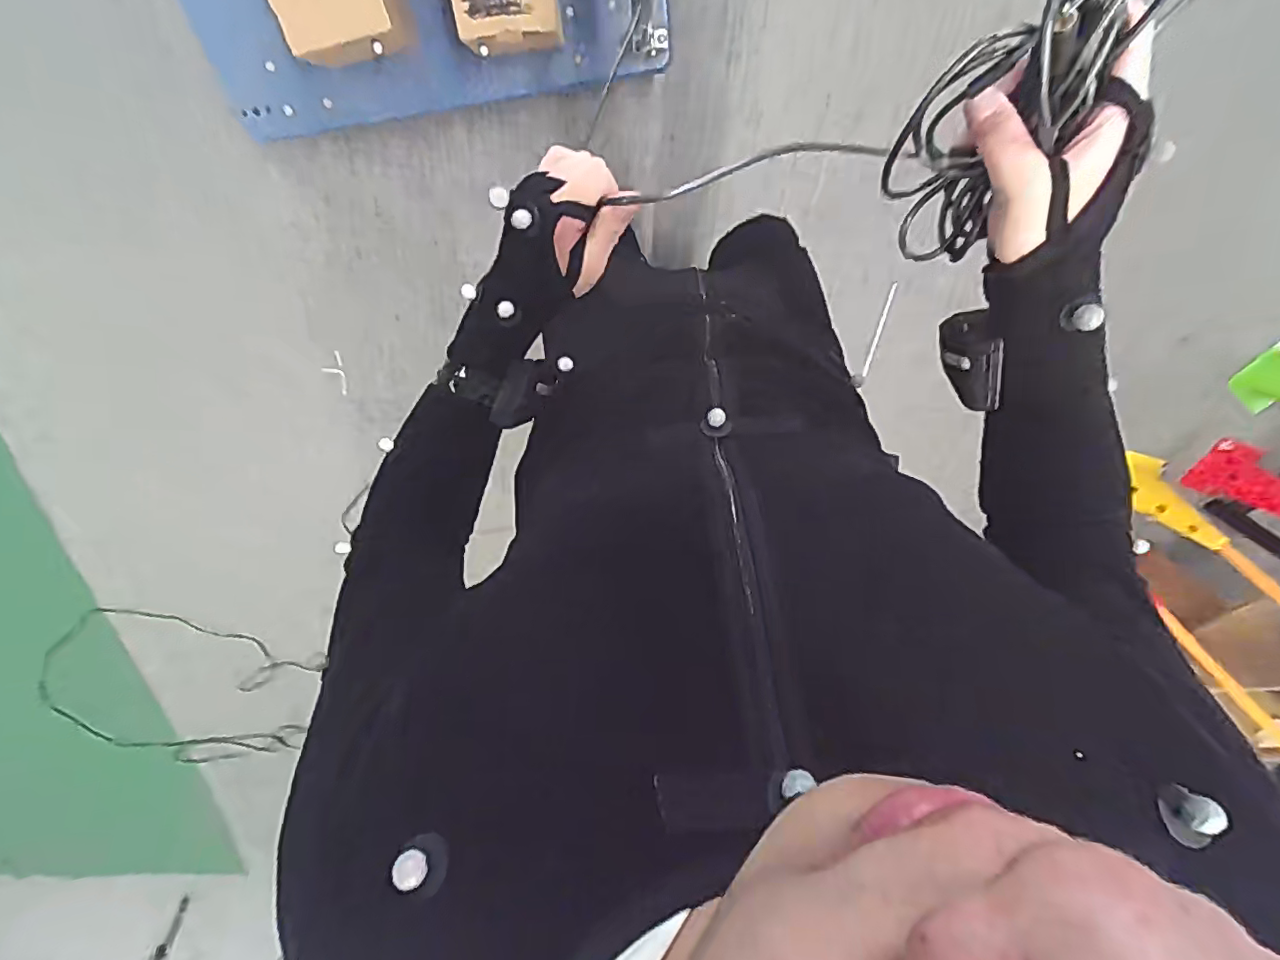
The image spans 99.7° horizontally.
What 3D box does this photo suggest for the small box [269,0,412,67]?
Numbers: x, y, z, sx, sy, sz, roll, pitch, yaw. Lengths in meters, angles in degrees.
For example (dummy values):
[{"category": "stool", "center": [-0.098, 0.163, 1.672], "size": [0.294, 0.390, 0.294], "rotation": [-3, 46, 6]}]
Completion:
[{"category": "small box", "center": [-0.507, -0.822, 0.908], "size": [0.179, 0.176, 0.168], "rotation": [-12, 122, 3]}]
